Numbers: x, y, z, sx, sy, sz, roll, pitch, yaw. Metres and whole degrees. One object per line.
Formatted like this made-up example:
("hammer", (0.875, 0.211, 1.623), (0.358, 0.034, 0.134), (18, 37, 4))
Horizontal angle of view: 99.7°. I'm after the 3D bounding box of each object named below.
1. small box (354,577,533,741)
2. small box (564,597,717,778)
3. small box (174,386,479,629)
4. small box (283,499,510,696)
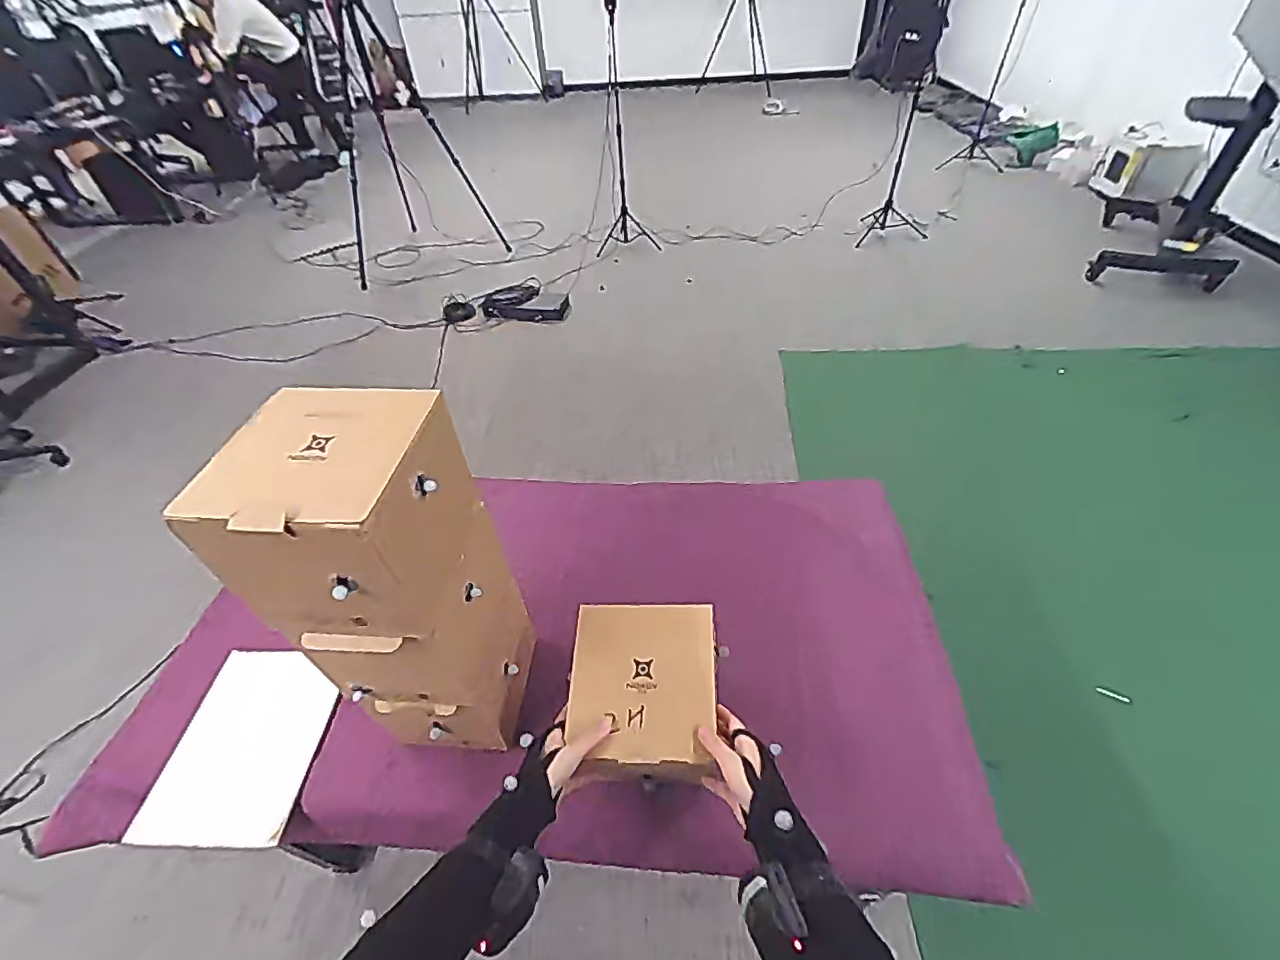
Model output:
("small box", (-0.259, 0.253, 0.768), (0.168, 0.176, 0.179), (2, 46, 5))
("small box", (0.012, 0.264, 0.687), (0.168, 0.176, 0.179), (-2, 55, 8))
("small box", (-0.274, 0.028, 0.529), (0.168, 0.176, 0.179), (3, 44, 5))
("small box", (-0.267, 0.140, 0.648), (0.168, 0.176, 0.179), (2, 44, 5))
